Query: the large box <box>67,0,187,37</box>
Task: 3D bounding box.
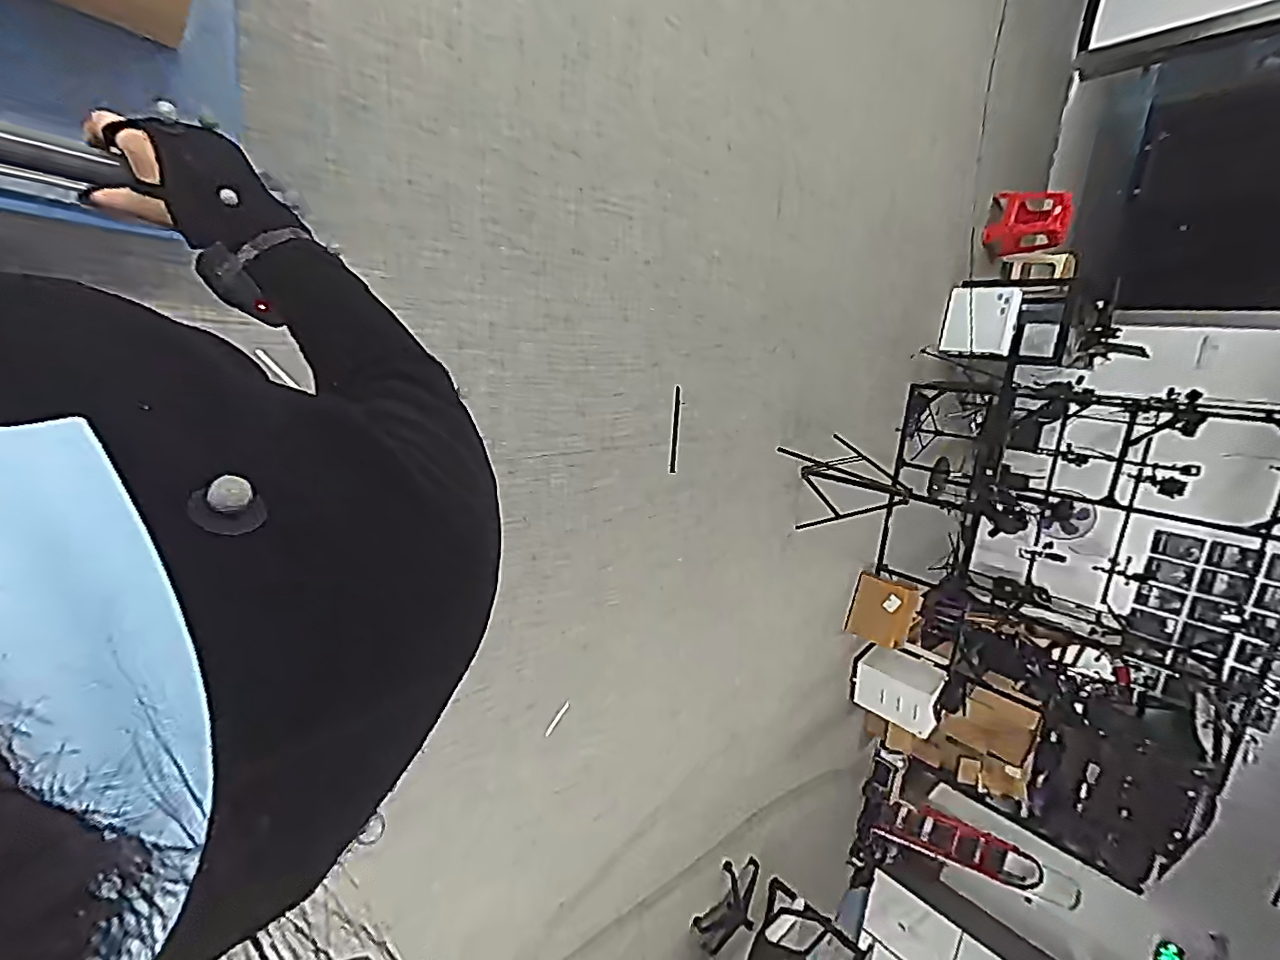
[{"bbox_3d":[-0.815,-0.843,0.649,0.408,0.320,0.320,-3,105,-44],"label":"large box"}]
